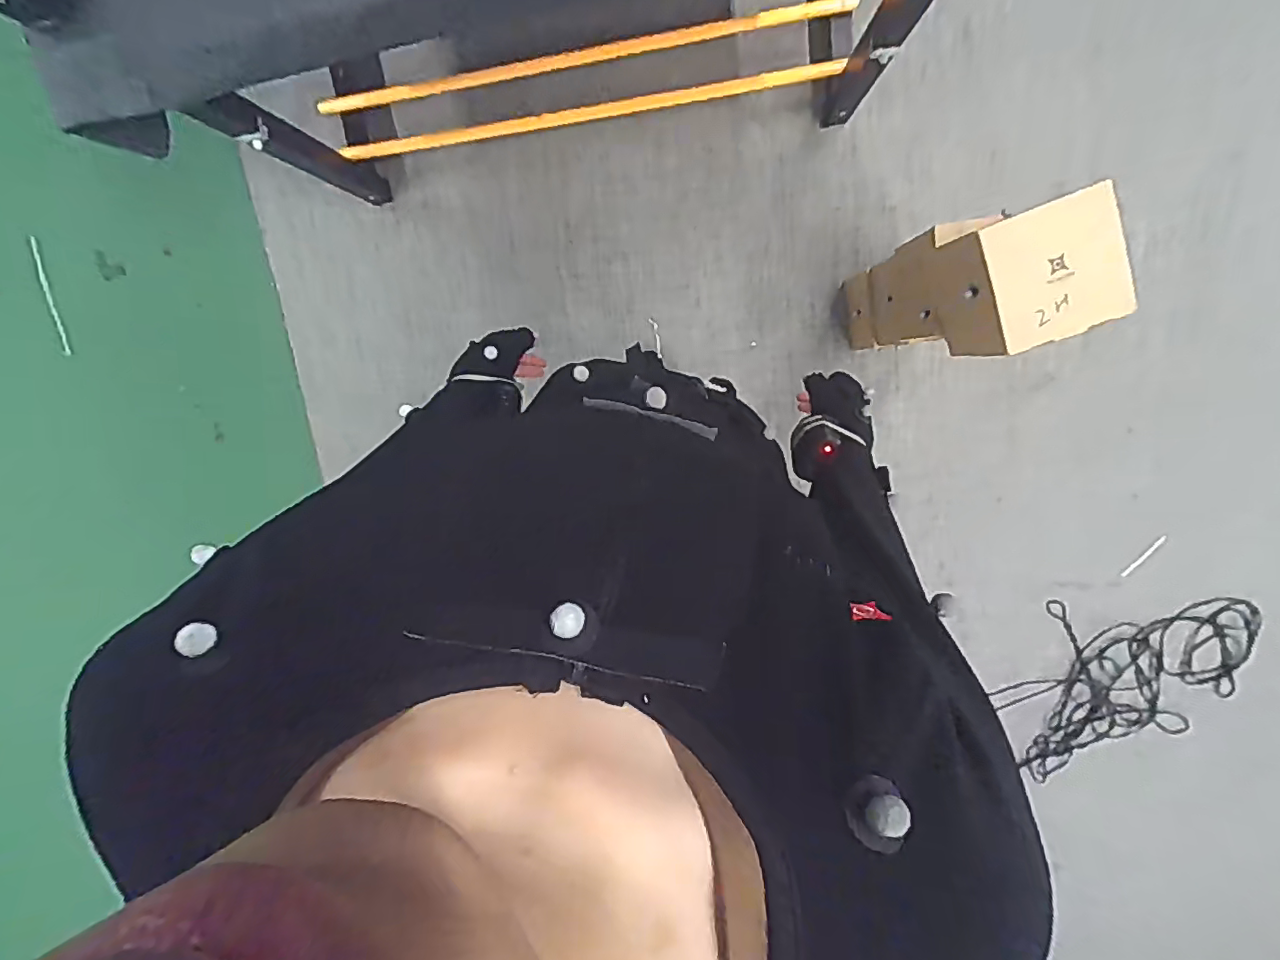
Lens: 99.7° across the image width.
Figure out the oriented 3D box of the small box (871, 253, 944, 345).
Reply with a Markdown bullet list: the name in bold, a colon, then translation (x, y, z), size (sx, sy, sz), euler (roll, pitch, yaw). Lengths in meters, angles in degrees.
- **small box**: translation (0.584, -0.375, 1.096), size (0.168, 0.176, 0.179), euler (-9, 101, 6)

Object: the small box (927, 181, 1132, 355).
- **small box**: translation (0.546, -0.289, 0.783), size (0.168, 0.176, 0.179), euler (-19, 101, 9)

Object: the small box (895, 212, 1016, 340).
- **small box**: translation (0.557, -0.344, 0.937), size (0.168, 0.176, 0.179), euler (-6, 102, 7)
